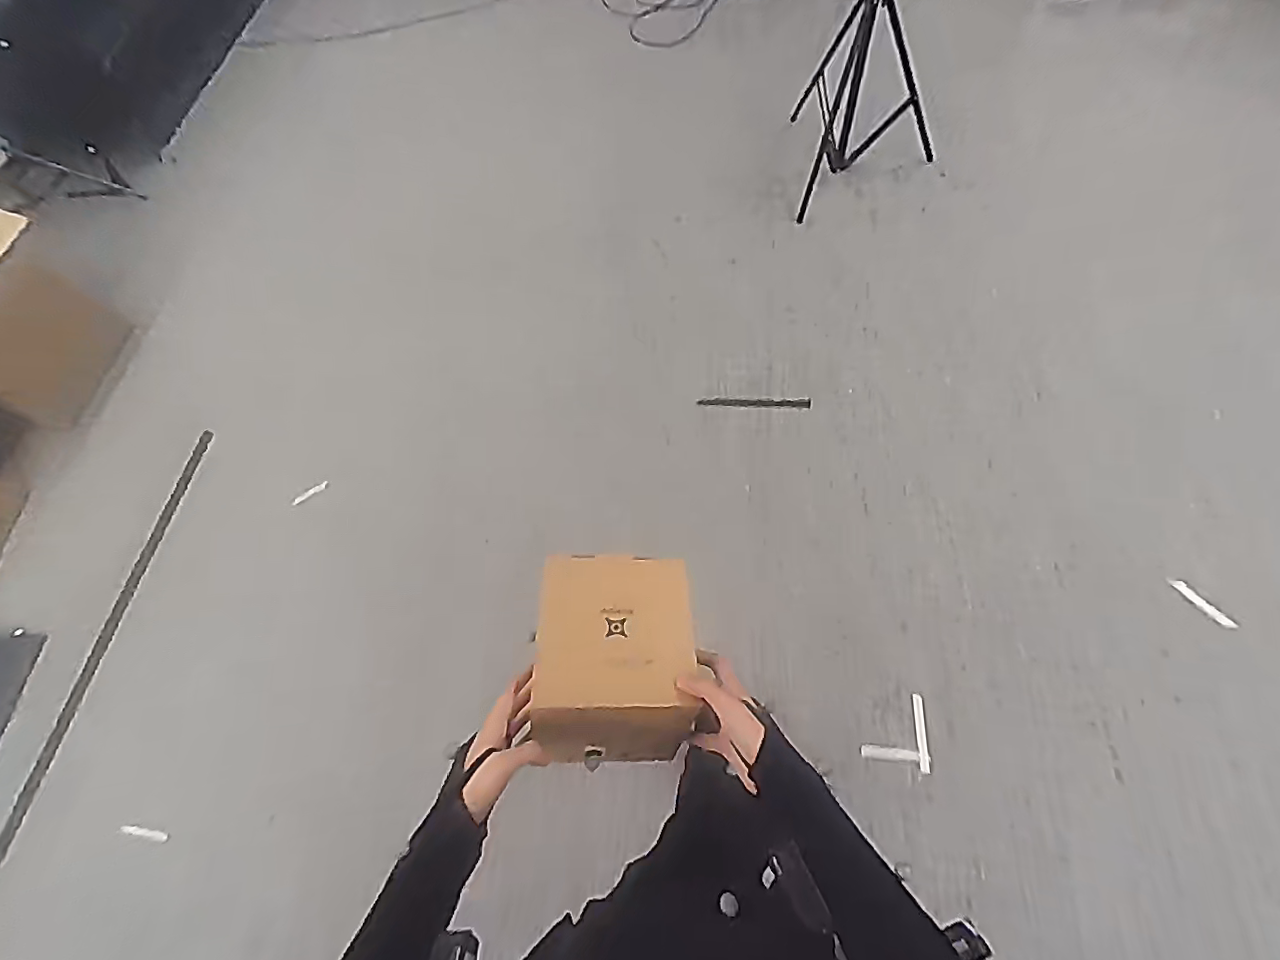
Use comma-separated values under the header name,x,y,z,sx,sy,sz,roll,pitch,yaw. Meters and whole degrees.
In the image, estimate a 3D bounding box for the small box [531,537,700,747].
name,x,y,z,sx,sy,sz,roll,pitch,yaw
small box,-0.037,0.187,0.627,0.168,0.176,0.179,3,45,-7
